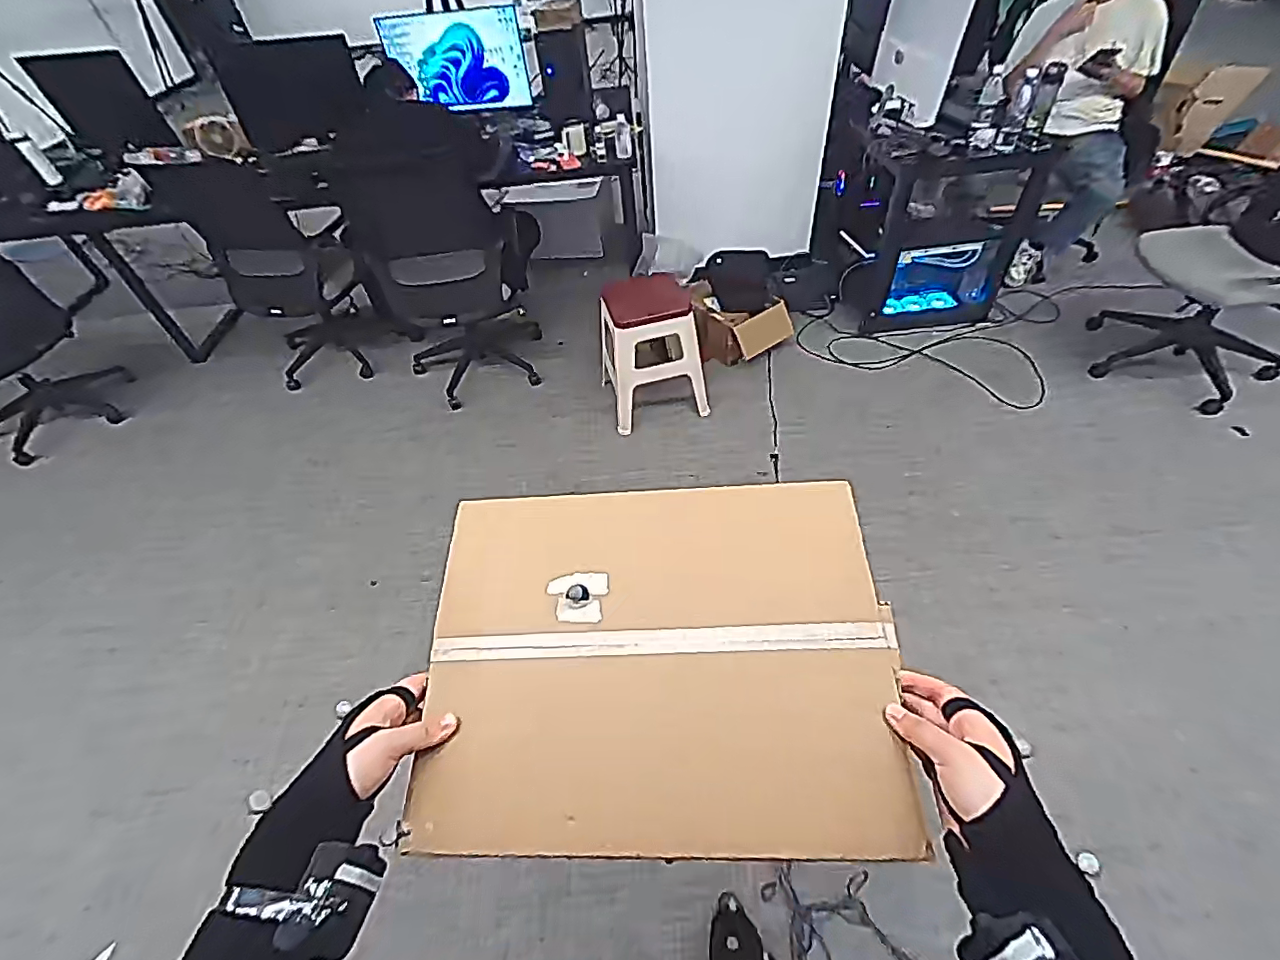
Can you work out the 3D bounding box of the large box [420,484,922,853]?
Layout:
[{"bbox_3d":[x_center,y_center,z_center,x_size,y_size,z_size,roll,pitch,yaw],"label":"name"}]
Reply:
[{"bbox_3d":[0.033,0.228,0.622,0.408,0.320,0.320,-5,58,6],"label":"large box"}]
